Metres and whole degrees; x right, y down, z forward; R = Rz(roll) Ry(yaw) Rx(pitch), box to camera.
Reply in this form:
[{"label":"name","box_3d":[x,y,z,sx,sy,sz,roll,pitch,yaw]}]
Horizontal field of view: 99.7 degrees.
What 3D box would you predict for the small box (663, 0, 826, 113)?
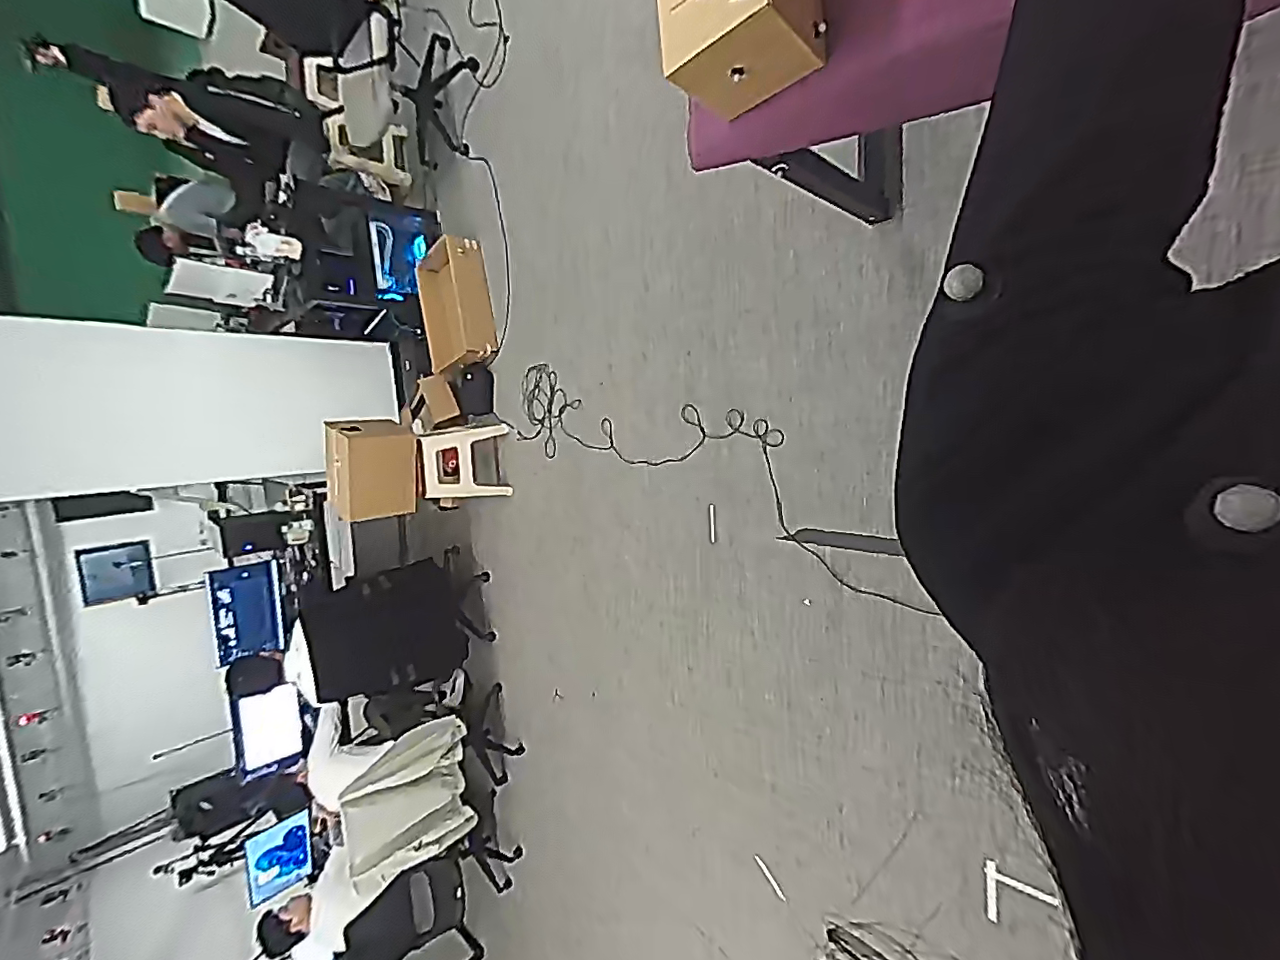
[{"label":"small box","box_3d":[0.153,-0.678,0.777,0.179,0.176,0.168,-3,93,45]}]
